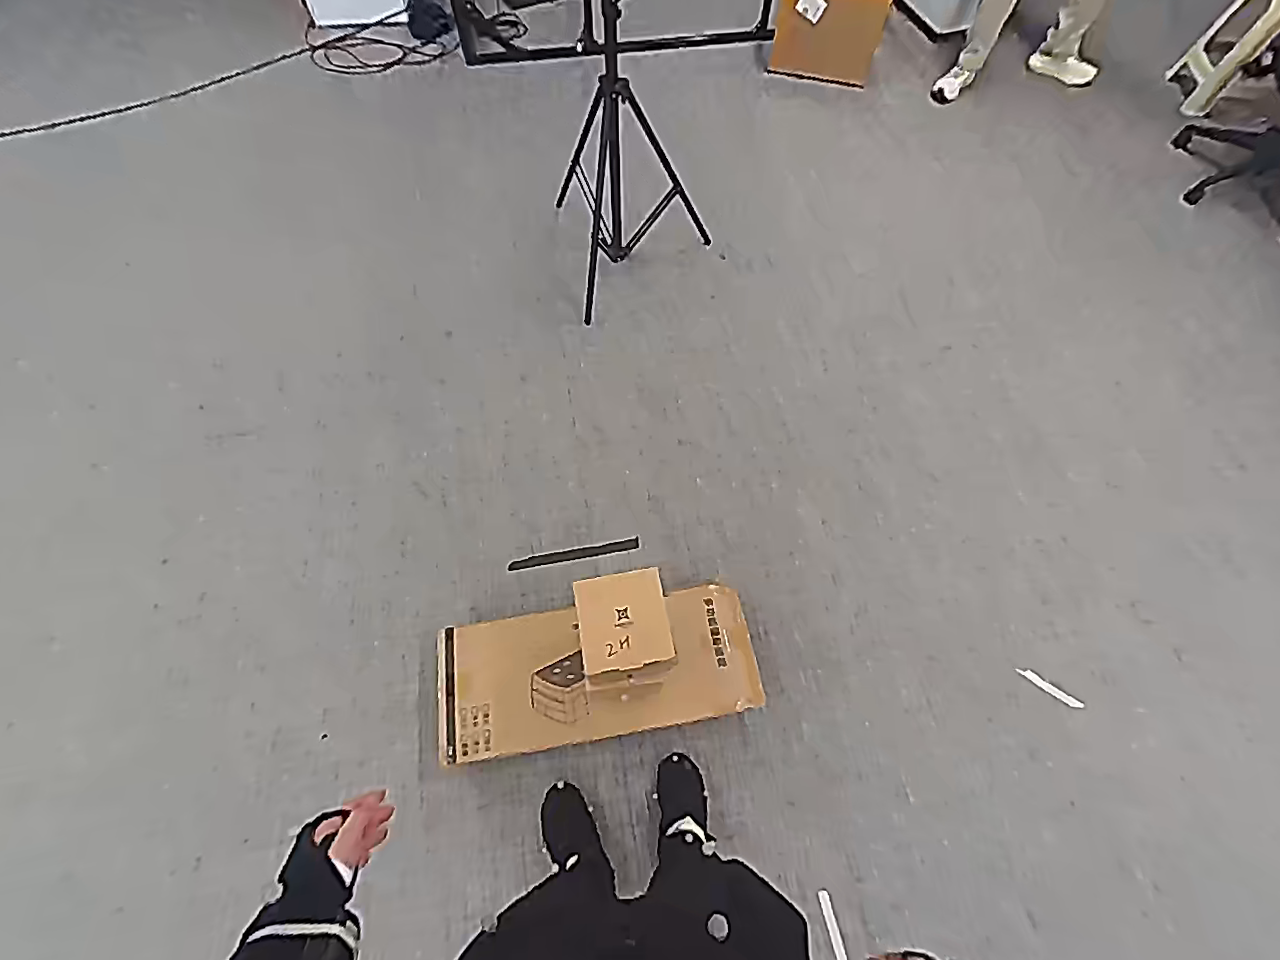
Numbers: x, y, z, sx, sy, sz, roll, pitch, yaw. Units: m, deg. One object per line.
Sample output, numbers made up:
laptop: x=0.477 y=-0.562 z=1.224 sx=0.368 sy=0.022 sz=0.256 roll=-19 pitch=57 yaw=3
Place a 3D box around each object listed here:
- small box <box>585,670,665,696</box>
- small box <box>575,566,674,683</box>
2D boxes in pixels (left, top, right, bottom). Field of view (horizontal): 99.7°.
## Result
small box: x=-0.038 y=0.377 z=1.211 sx=0.168 sy=0.176 sz=0.179 roll=-5 pitch=65 yaw=-3
small box: x=-0.033 y=0.290 z=1.069 sx=0.168 sy=0.176 sz=0.179 roll=-9 pitch=64 yaw=-5
